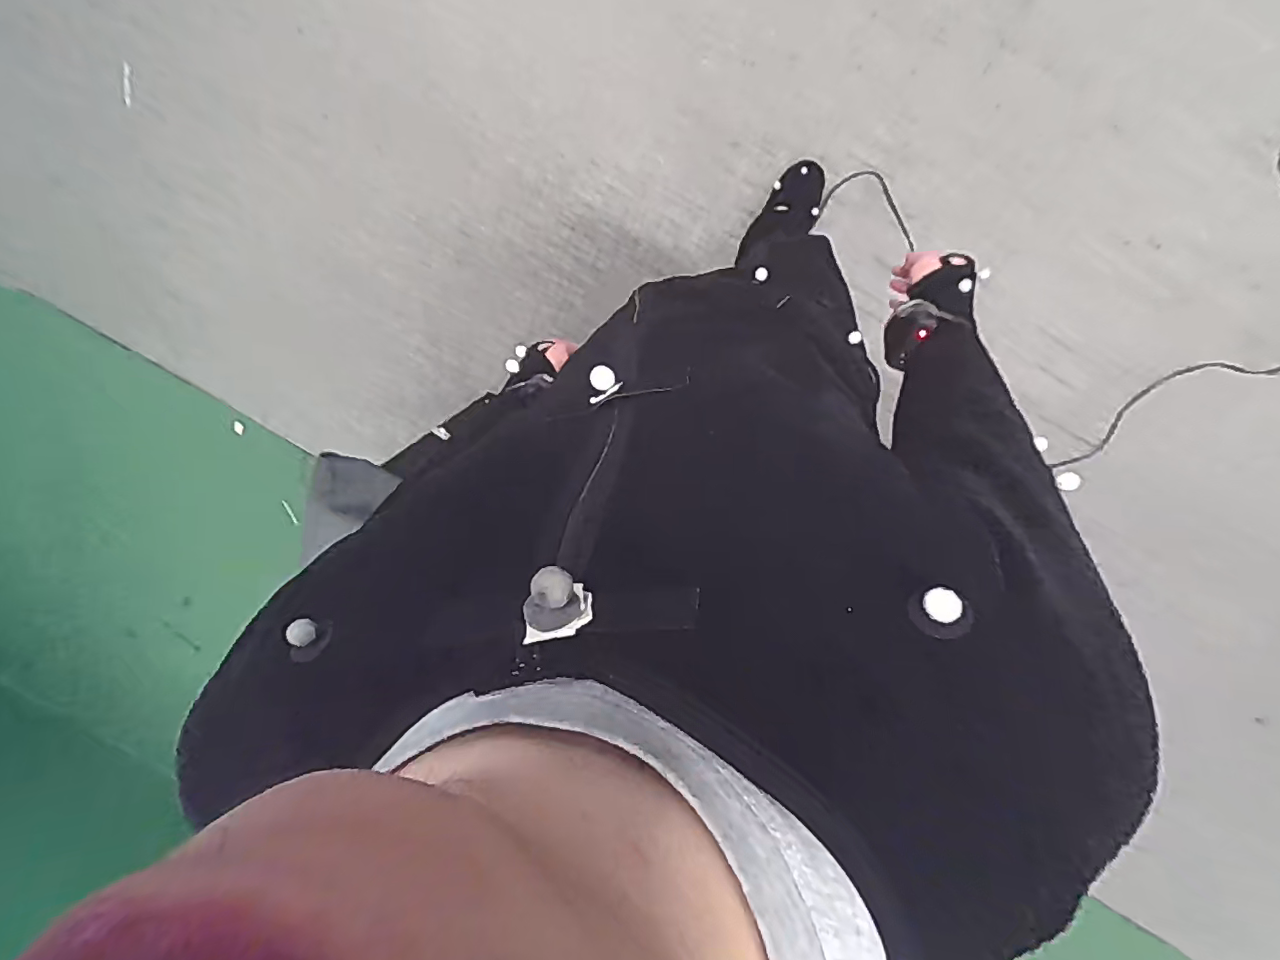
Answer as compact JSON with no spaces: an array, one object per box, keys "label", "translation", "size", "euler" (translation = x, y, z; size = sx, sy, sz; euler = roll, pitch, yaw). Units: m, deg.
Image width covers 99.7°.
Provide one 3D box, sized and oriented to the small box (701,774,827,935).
[{"label":"small box","translation":[0.240,0.713,1.040],"size":[0.168,0.176,0.179],"euler":[29,120,0]}]
